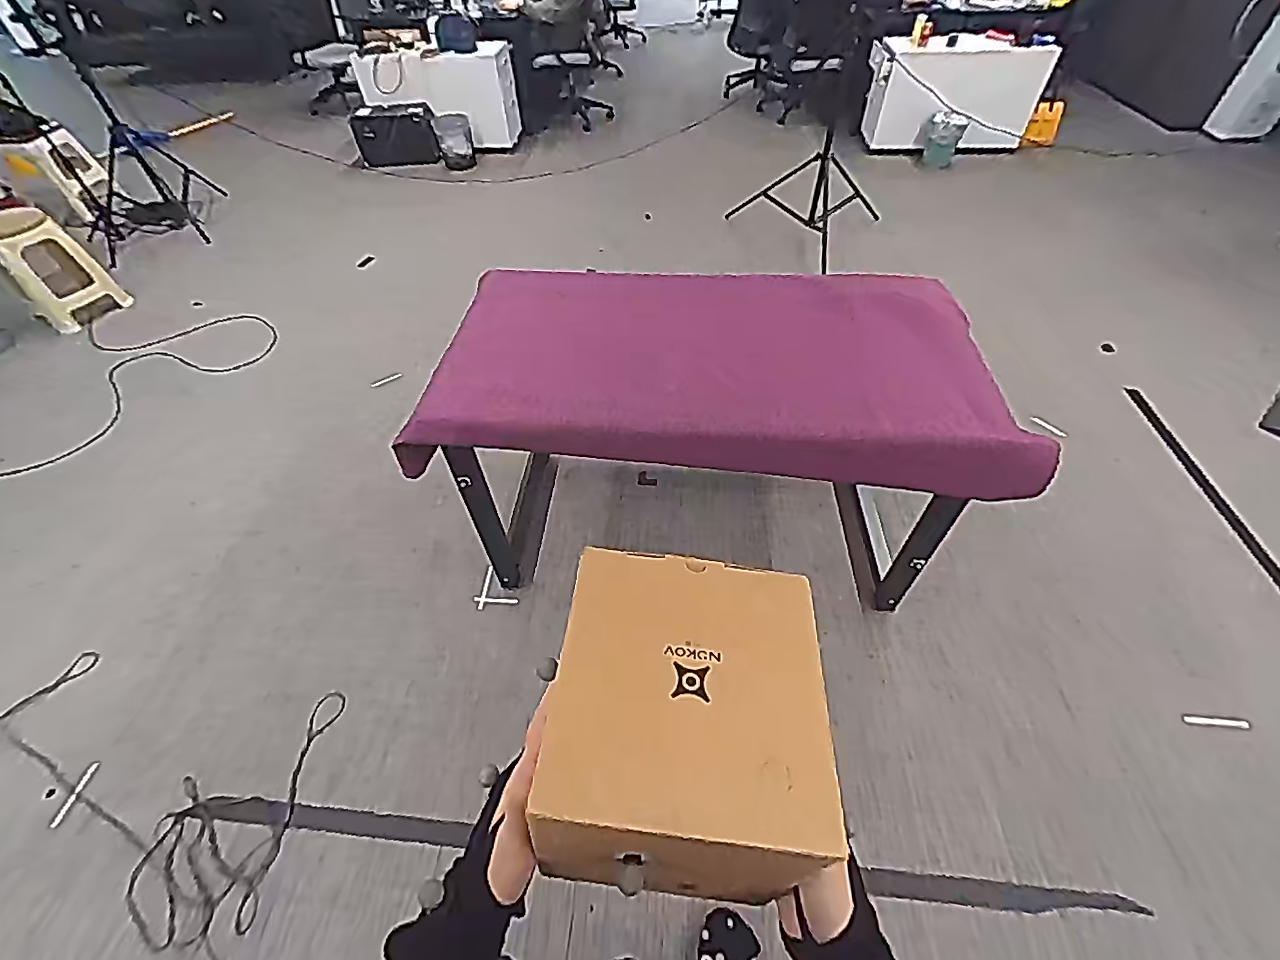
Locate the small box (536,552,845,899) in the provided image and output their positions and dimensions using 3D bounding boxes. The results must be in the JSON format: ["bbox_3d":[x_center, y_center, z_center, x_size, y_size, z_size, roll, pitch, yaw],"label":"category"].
[{"bbox_3d":[0.029,0.180,0.395,0.168,0.176,0.179,7,44,1],"label":"small box"}]
